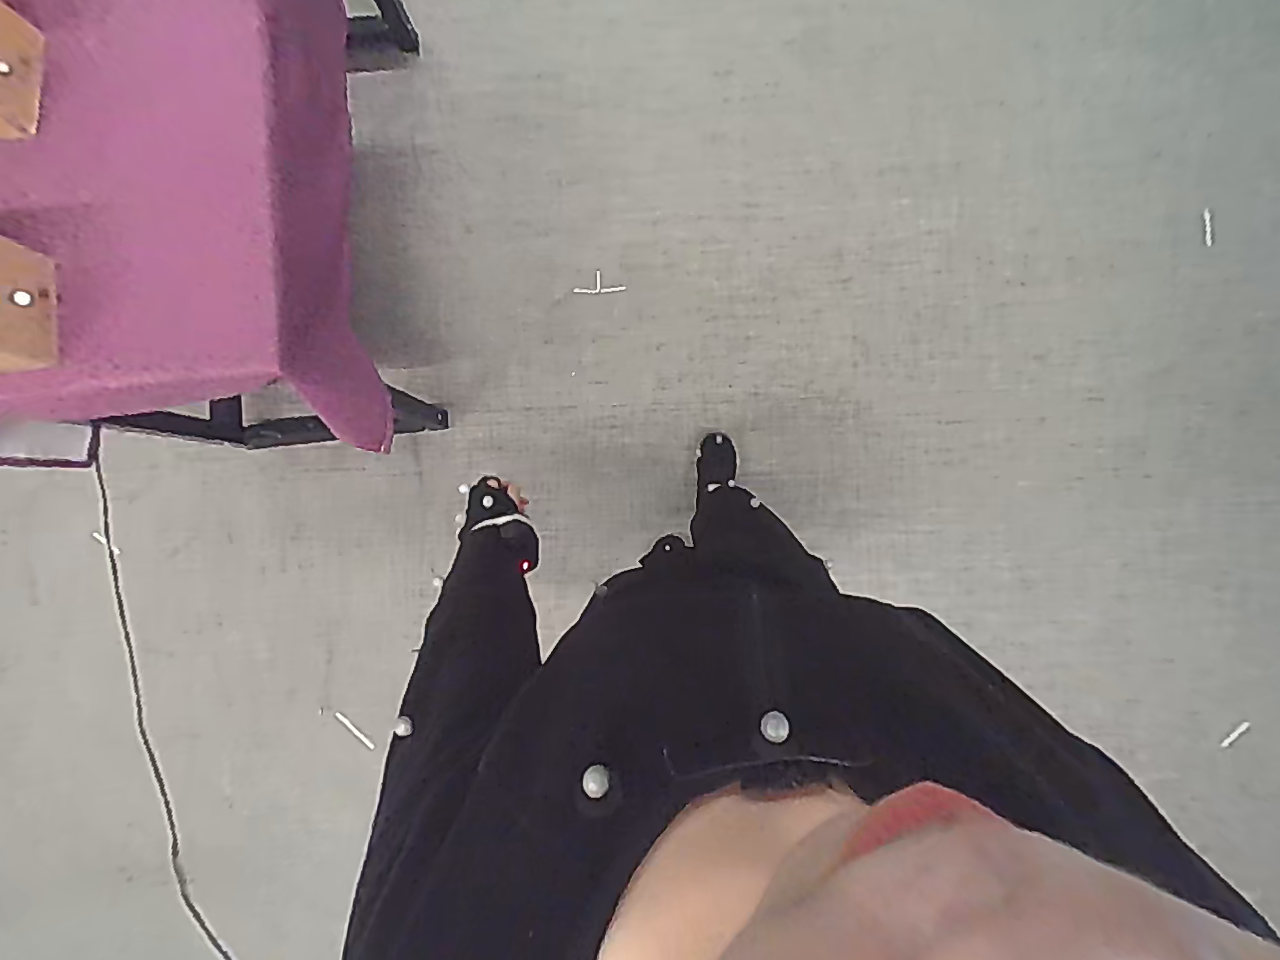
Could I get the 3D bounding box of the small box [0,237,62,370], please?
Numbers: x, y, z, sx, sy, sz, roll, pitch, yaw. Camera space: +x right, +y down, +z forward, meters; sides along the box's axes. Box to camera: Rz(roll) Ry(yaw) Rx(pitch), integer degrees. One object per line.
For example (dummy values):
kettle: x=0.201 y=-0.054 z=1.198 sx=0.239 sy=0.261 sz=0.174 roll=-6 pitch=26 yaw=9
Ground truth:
small box: x=-0.960 y=-0.248 z=0.734 sx=0.179 sy=0.176 sz=0.168 roll=-5 pitch=87 yaw=0

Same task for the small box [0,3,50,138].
small box: x=-1.009 y=-0.613 z=0.757 sx=0.179 sy=0.176 sz=0.168 roll=2 pitch=87 yaw=0
